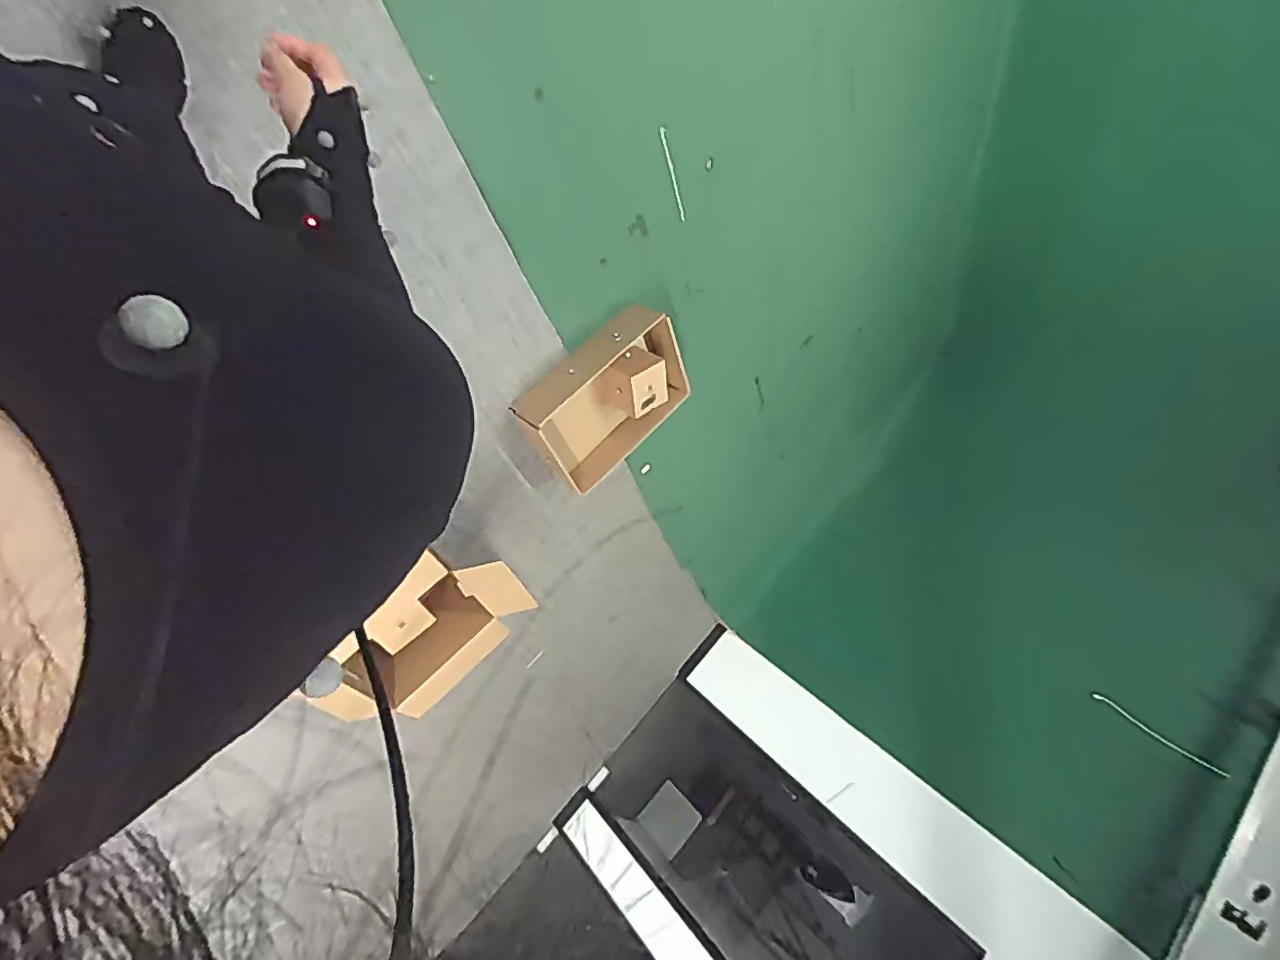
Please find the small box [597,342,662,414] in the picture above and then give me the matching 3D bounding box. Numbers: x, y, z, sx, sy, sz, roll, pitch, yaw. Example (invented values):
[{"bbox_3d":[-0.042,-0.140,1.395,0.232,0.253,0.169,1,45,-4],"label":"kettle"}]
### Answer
[{"bbox_3d":[-0.037,-0.376,1.979,0.168,0.176,0.179,-34,139,-27],"label":"small box"}]
